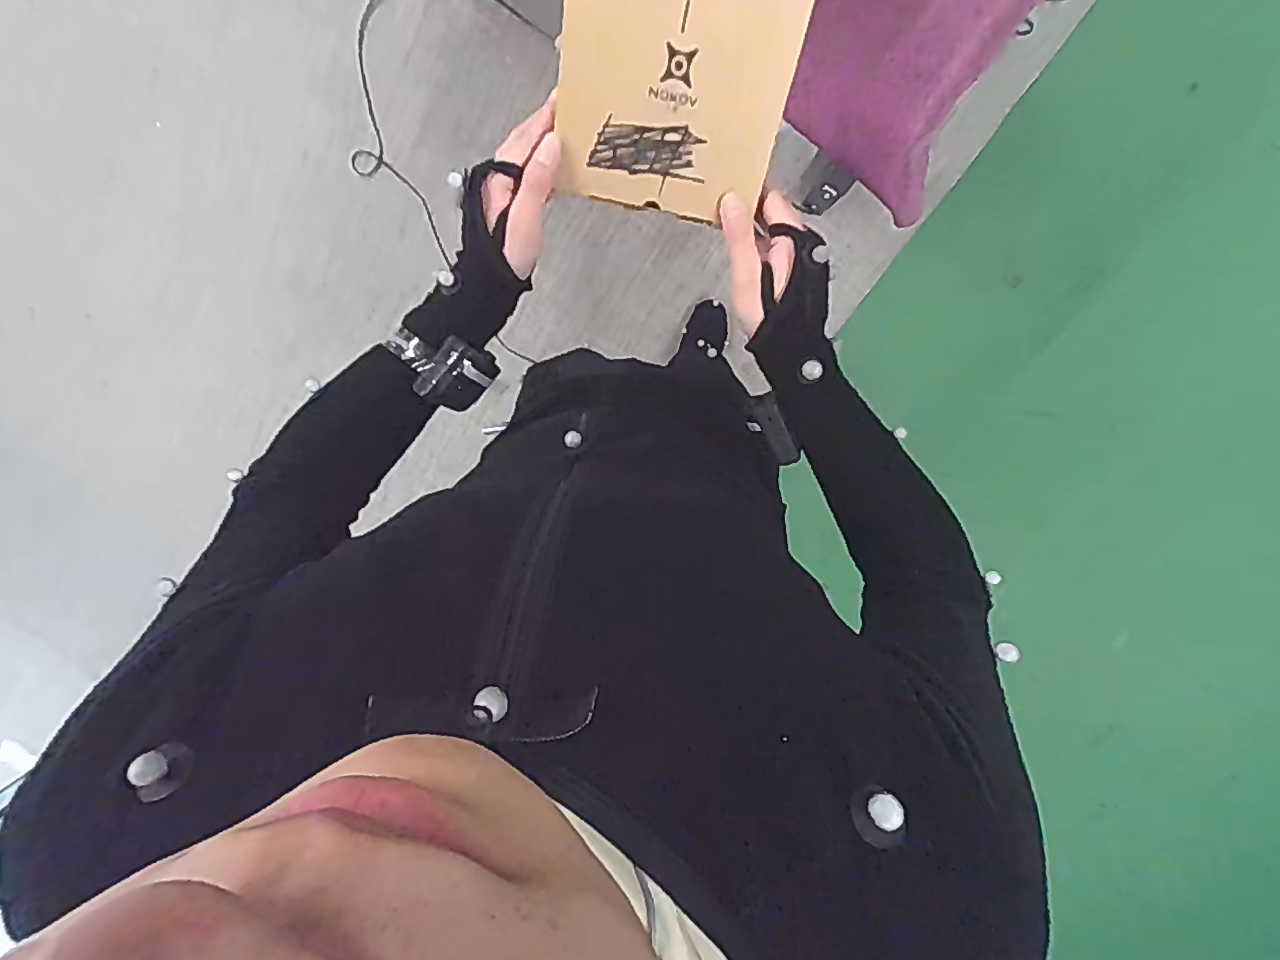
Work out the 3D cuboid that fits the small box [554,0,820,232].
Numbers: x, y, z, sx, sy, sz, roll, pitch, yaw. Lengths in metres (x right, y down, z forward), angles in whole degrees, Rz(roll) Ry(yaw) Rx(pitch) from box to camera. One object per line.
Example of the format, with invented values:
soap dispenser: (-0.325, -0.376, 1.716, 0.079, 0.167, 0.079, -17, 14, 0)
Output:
small box: (0.031, -0.328, 0.446, 0.168, 0.176, 0.179, 9, 124, -5)
